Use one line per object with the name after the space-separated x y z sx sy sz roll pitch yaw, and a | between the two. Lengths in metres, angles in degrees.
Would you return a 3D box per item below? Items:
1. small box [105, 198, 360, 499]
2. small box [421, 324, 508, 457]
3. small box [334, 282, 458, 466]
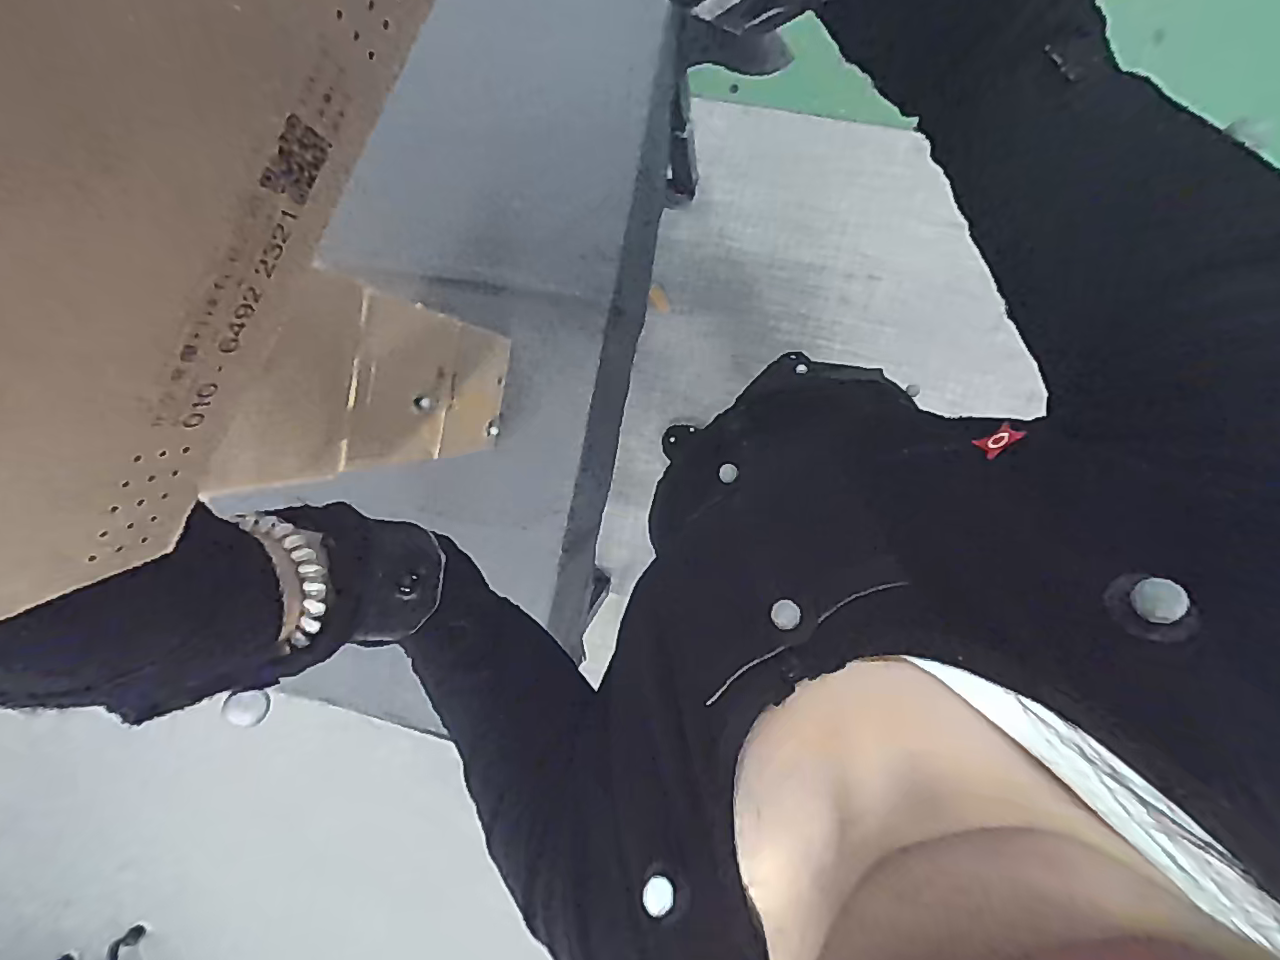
-0.346 -0.099 0.412 0.168 0.176 0.179 14 98 7 | small box
-0.299 -0.135 0.733 0.179 0.176 0.168 13 98 8 | small box
-0.324 -0.117 0.574 0.179 0.176 0.168 13 98 7 | small box
